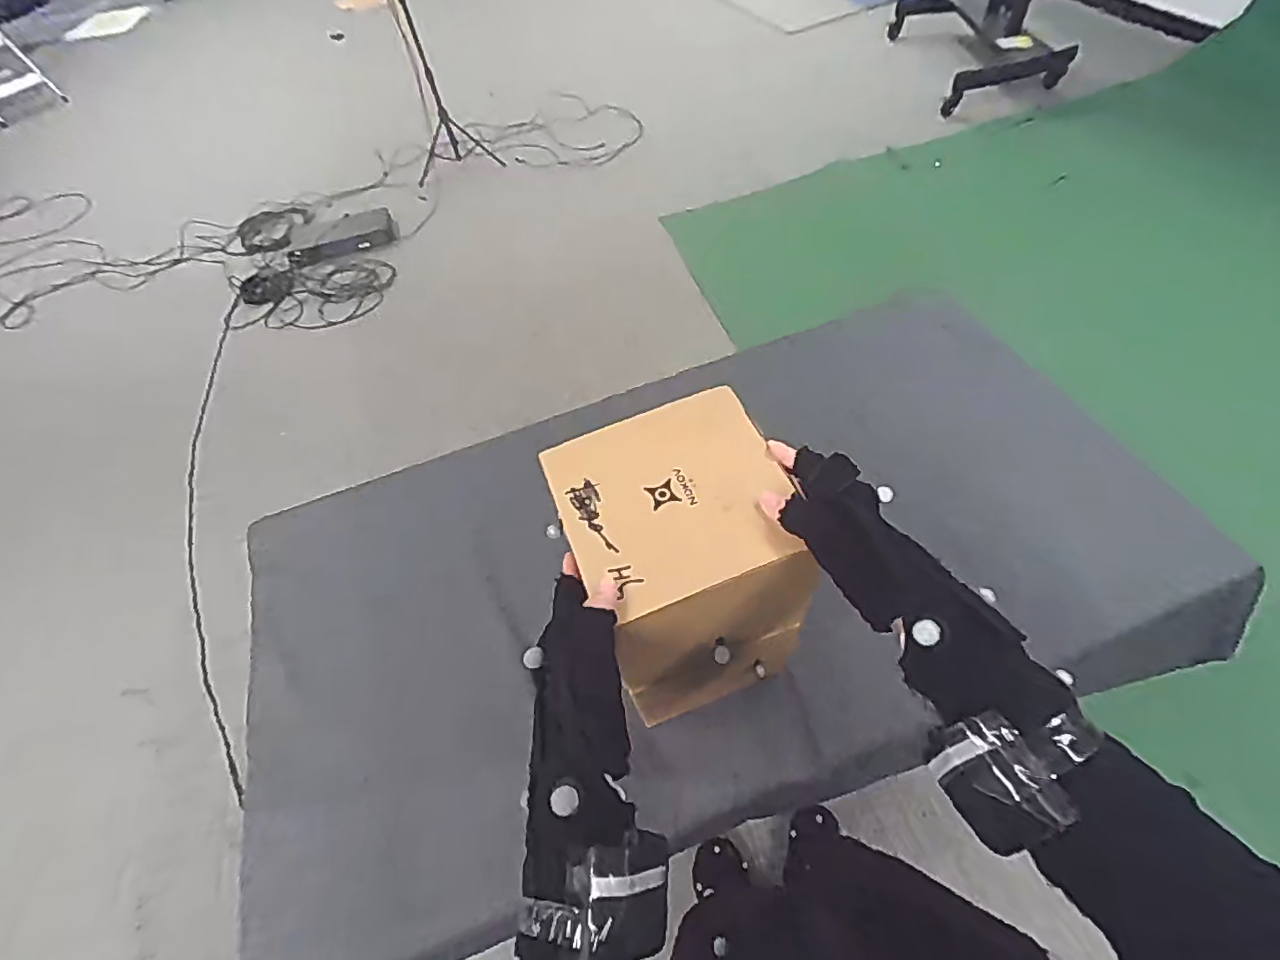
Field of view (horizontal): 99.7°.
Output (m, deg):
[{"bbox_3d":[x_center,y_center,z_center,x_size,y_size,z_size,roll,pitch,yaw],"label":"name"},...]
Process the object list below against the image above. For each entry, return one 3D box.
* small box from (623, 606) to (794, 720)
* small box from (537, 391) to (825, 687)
[{"bbox_3d":[0.049,0.147,0.614,0.179,0.176,0.168,-22,55,-6],"label":"small box"},{"bbox_3d":[0.031,0.058,0.481,0.179,0.176,0.168,-23,57,-8],"label":"small box"}]
